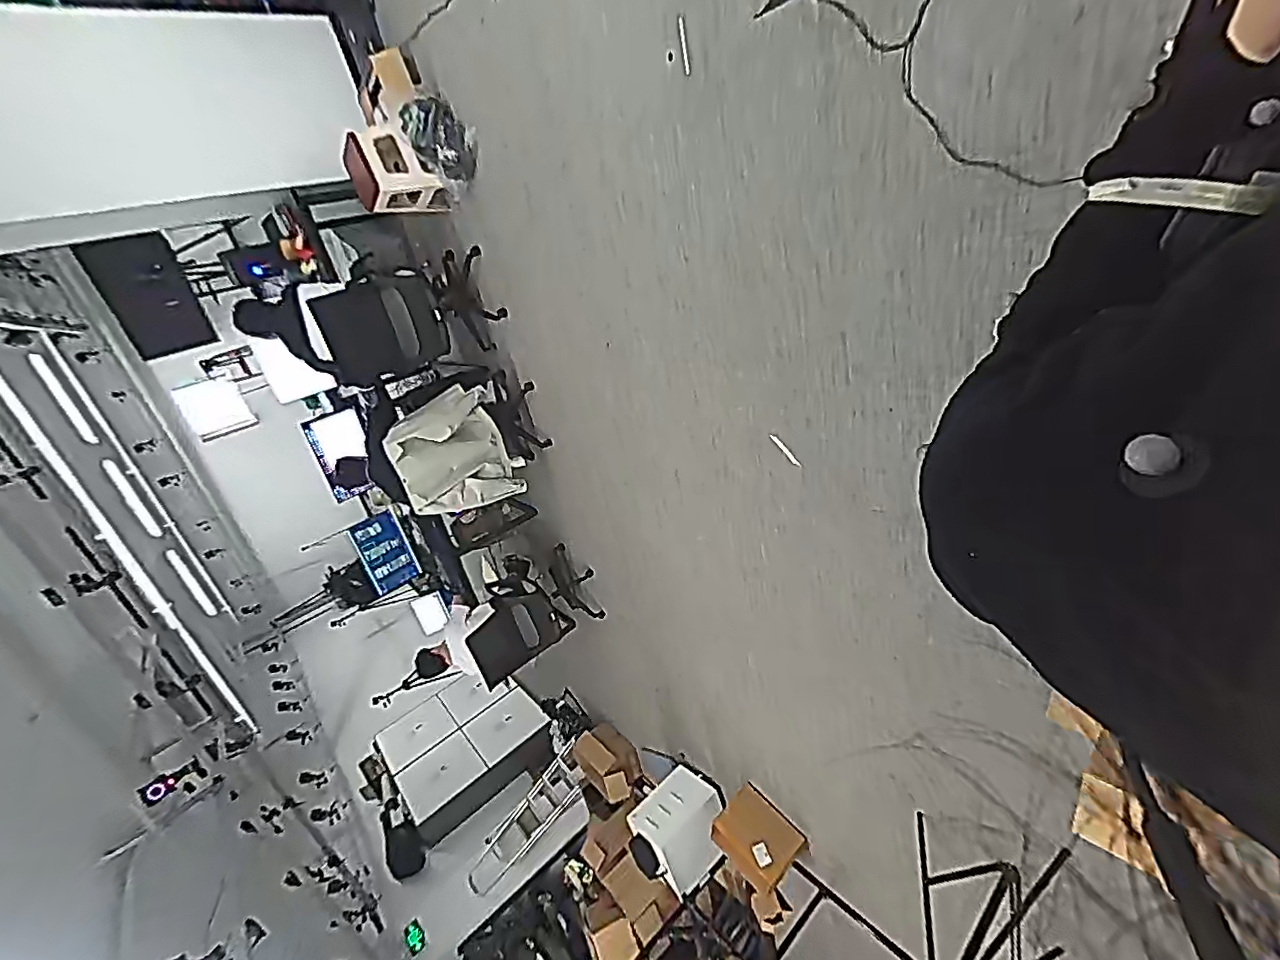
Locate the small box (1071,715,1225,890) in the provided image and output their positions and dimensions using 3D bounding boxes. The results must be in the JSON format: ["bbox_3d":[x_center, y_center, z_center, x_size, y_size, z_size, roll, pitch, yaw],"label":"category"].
[{"bbox_3d":[0.926,0.578,0.990,0.168,0.176,0.179,17,127,48],"label":"small box"}]
